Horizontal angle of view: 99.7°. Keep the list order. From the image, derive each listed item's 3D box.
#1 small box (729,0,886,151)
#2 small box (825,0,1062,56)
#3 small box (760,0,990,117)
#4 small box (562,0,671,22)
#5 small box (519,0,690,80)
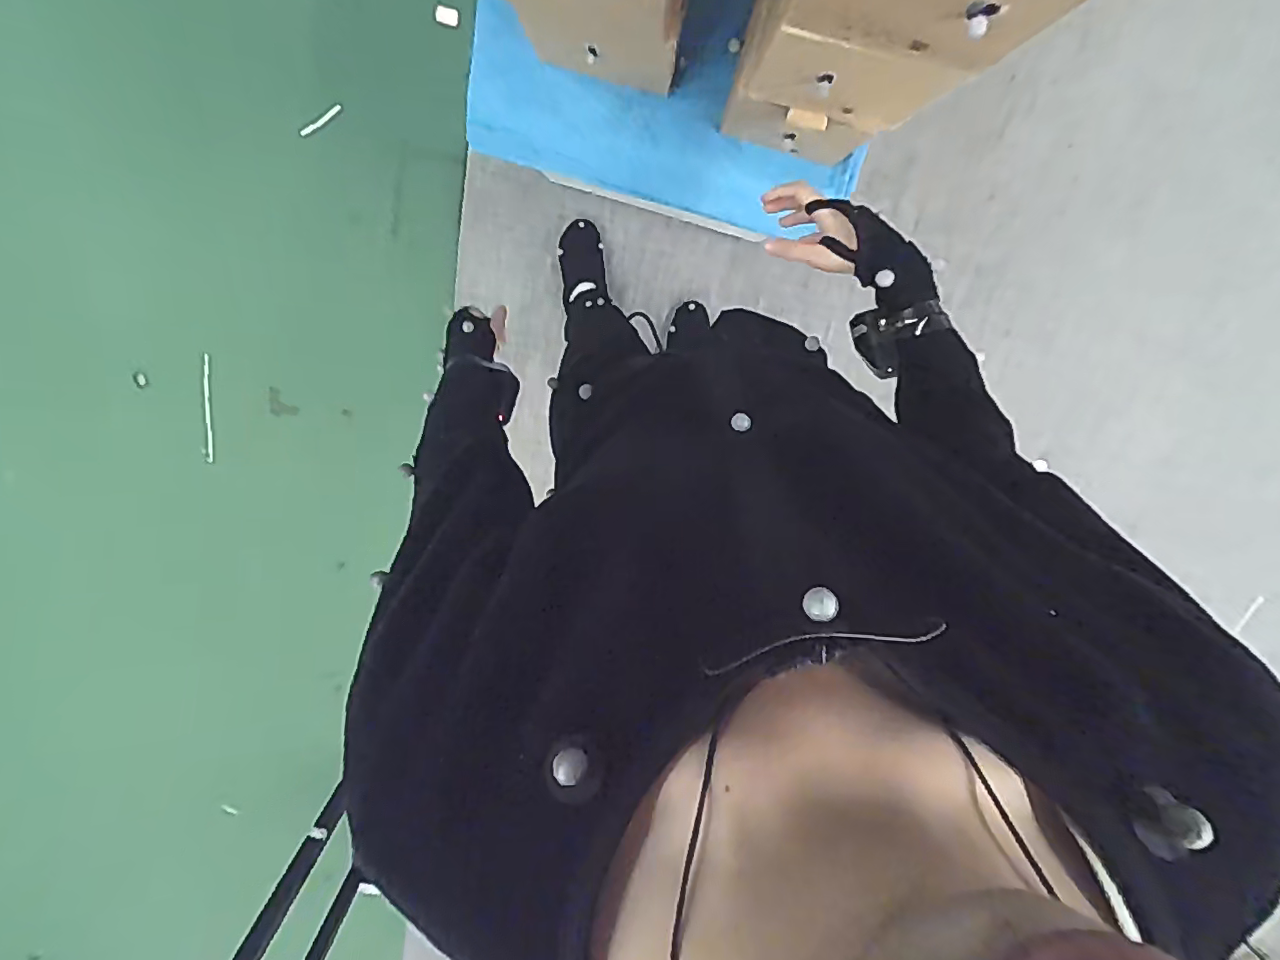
[{"bbox_3d":[0.207,-0.504,0.619,0.168,0.176,0.179,14,111,-4],"label":"small box"},{"bbox_3d":[0.211,-0.393,0.313,0.168,0.176,0.179,14,108,-5],"label":"small box"},{"bbox_3d":[0.212,-0.447,0.467,0.168,0.176,0.179,12,109,-3],"label":"small box"},{"bbox_3d":[-0.036,-0.520,0.441,0.179,0.176,0.168,13,110,-4],"label":"small box"},{"bbox_3d":[-0.025,-0.576,0.595,0.179,0.176,0.168,13,110,-4],"label":"small box"}]
